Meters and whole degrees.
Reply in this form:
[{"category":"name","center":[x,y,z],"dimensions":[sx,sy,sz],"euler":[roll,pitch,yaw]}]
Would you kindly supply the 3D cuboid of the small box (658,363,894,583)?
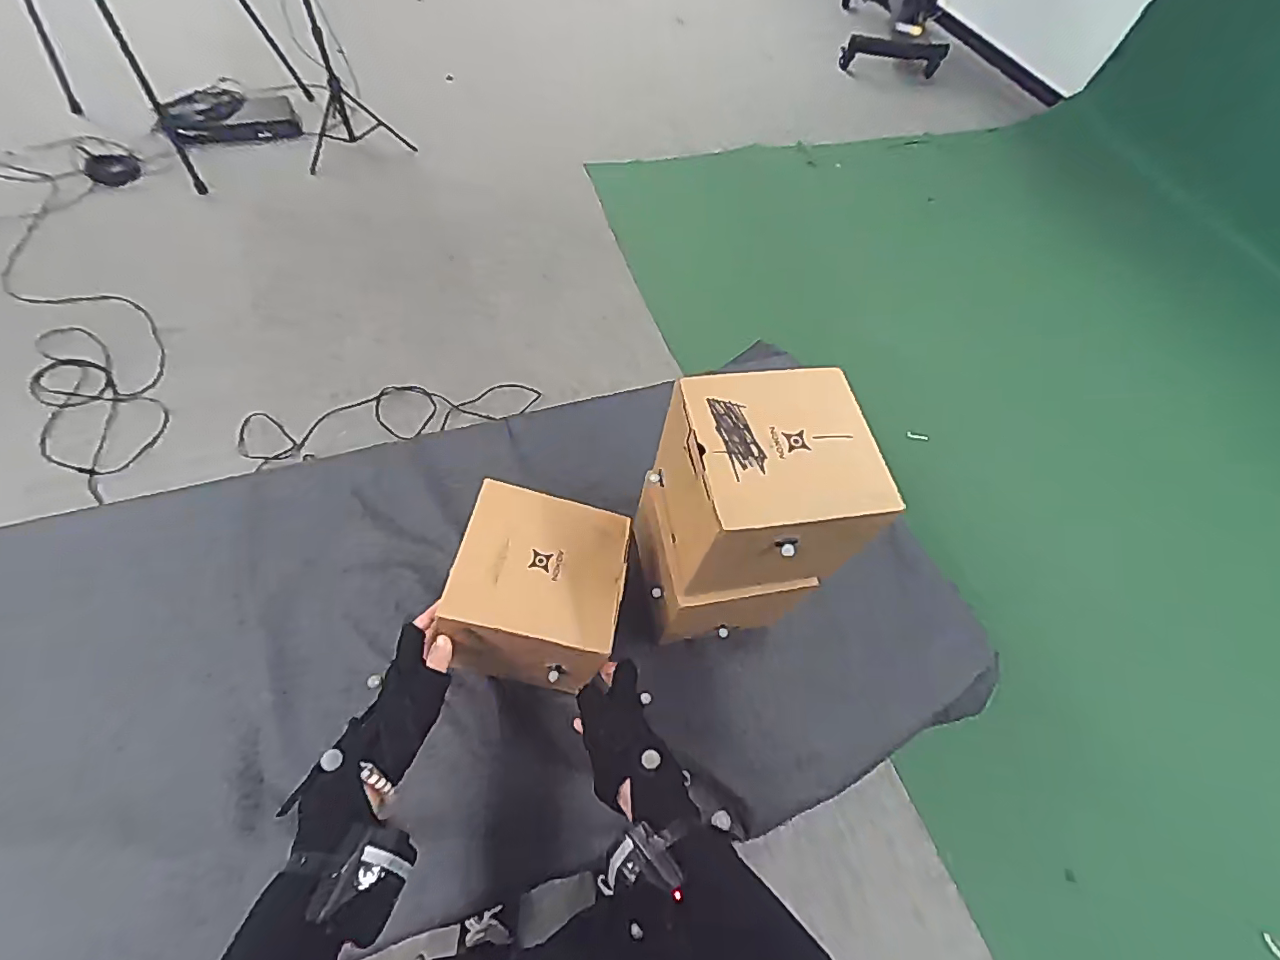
[{"category":"small box","center":[0.121,-0.001,0.570],"dimensions":[0.179,0.176,0.168],"euler":[-6,62,-11]}]
